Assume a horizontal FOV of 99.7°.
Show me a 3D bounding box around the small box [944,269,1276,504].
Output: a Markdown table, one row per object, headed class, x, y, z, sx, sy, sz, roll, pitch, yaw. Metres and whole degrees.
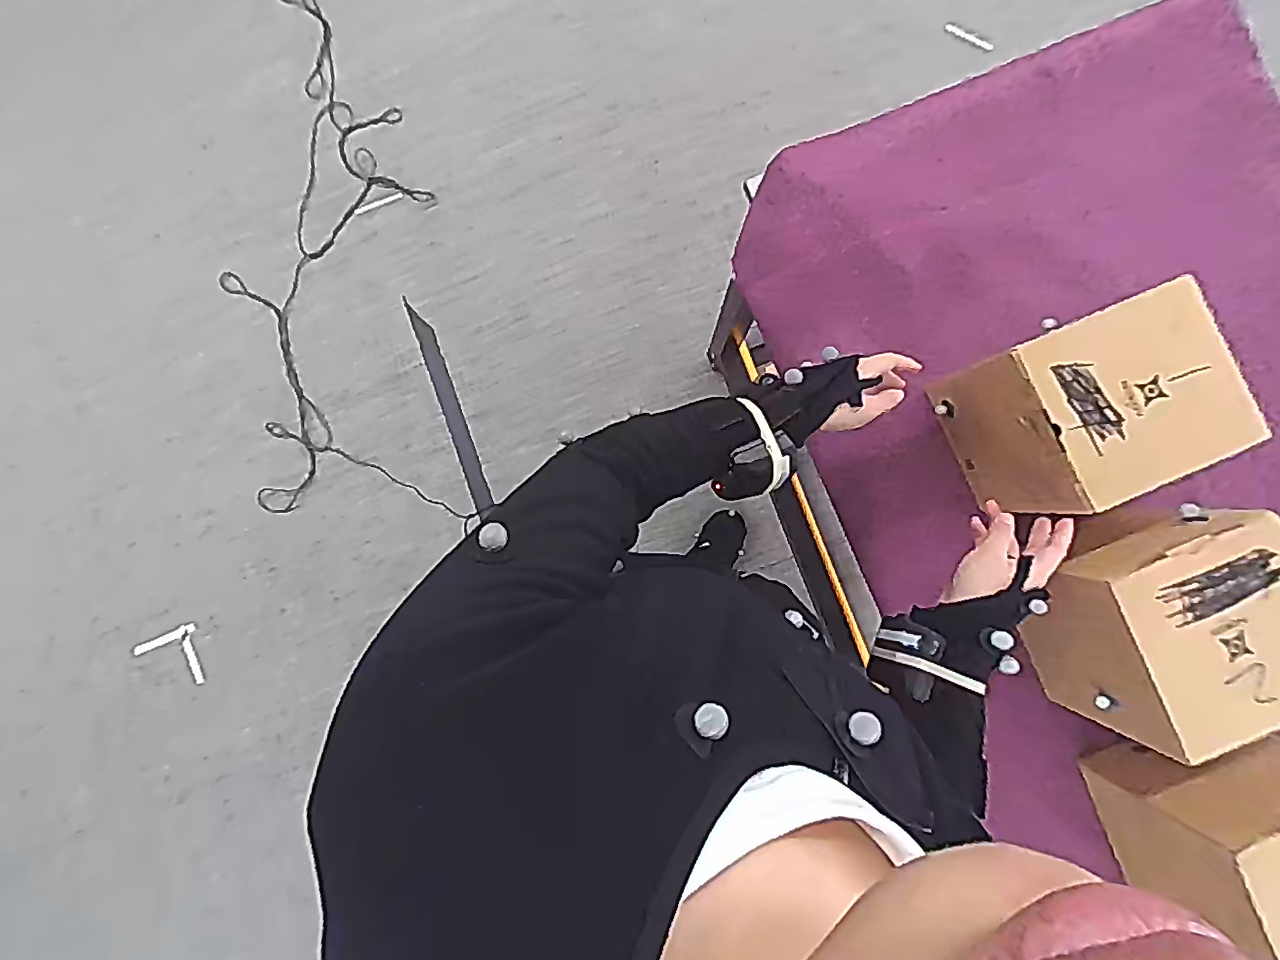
| class | x | y | z | sx | sy | sz | roll | pitch | yaw |
| --- | --- | --- | --- | --- | --- | --- | --- | --- | --- |
| small box | 0.453 | -0.079 | 0.561 | 0.179 | 0.176 | 0.168 | -23 | 87 | -1 |
